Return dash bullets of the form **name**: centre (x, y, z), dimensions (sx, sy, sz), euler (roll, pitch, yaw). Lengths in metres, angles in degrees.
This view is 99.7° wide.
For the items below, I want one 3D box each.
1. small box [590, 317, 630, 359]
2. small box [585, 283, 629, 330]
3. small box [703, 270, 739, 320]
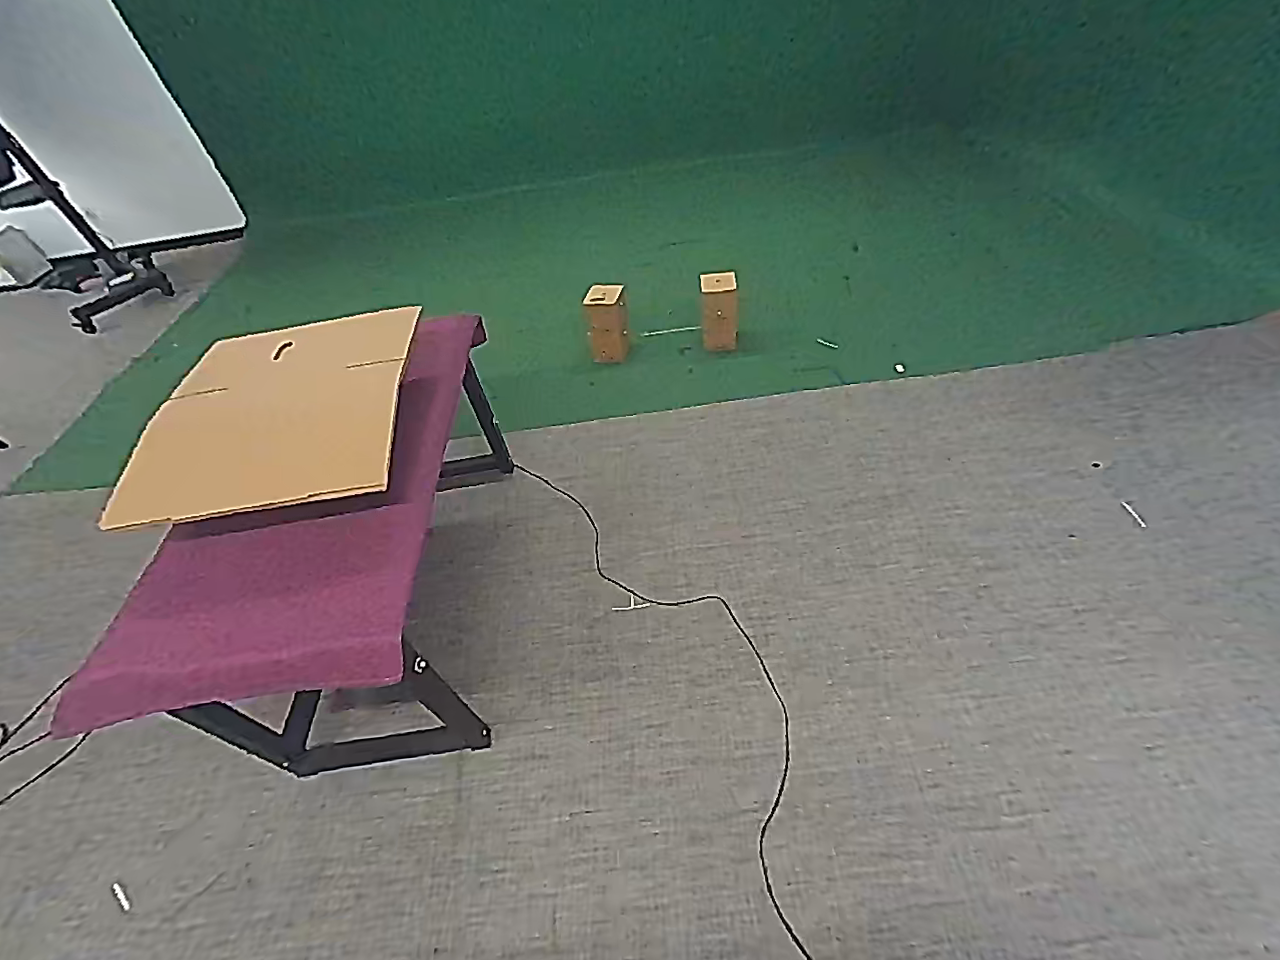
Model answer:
- **small box**: centre (-0.149, -0.750, 2.814), dimensions (0.168, 0.176, 0.179), euler (4, 50, 12)
- **small box**: centre (-0.161, -0.866, 2.697), dimensions (0.168, 0.176, 0.179), euler (6, 49, 14)
- **small box**: centre (0.391, -0.905, 2.641), dimensions (0.168, 0.176, 0.179), euler (-2, 48, 7)
